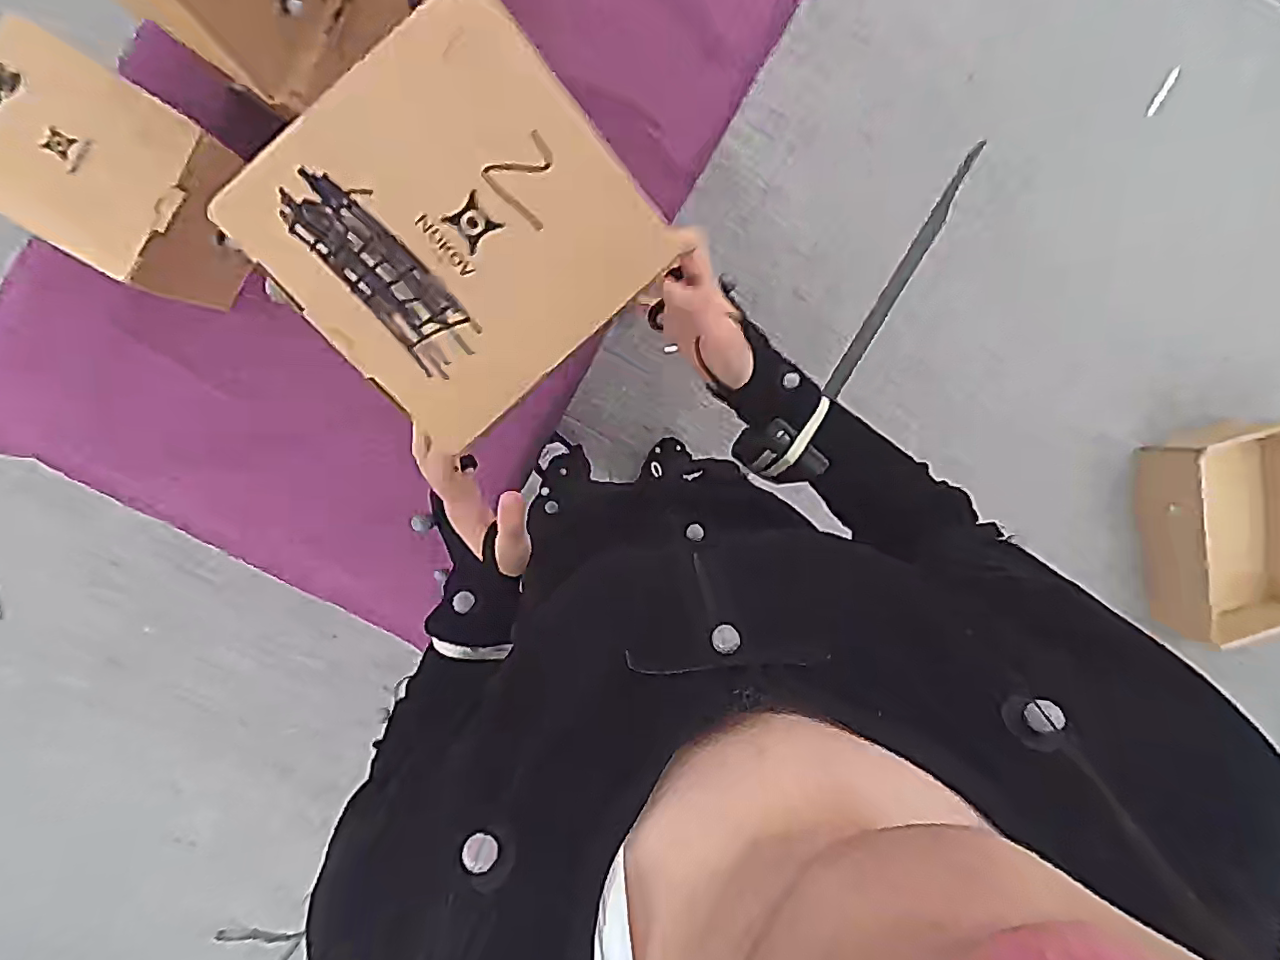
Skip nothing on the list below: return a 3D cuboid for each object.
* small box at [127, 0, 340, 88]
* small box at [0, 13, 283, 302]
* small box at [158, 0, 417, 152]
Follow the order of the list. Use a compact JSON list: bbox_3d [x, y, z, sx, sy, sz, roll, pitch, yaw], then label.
[{"bbox_3d":[-0.354,-0.453,0.405,0.179,0.176,0.168,32,92,-12],"label":"small box"},{"bbox_3d":[-0.525,-0.307,0.566,0.179,0.176,0.168,31,93,-12],"label":"small box"},{"bbox_3d":[-0.364,-0.484,0.565,0.179,0.176,0.168,29,93,-10],"label":"small box"}]
